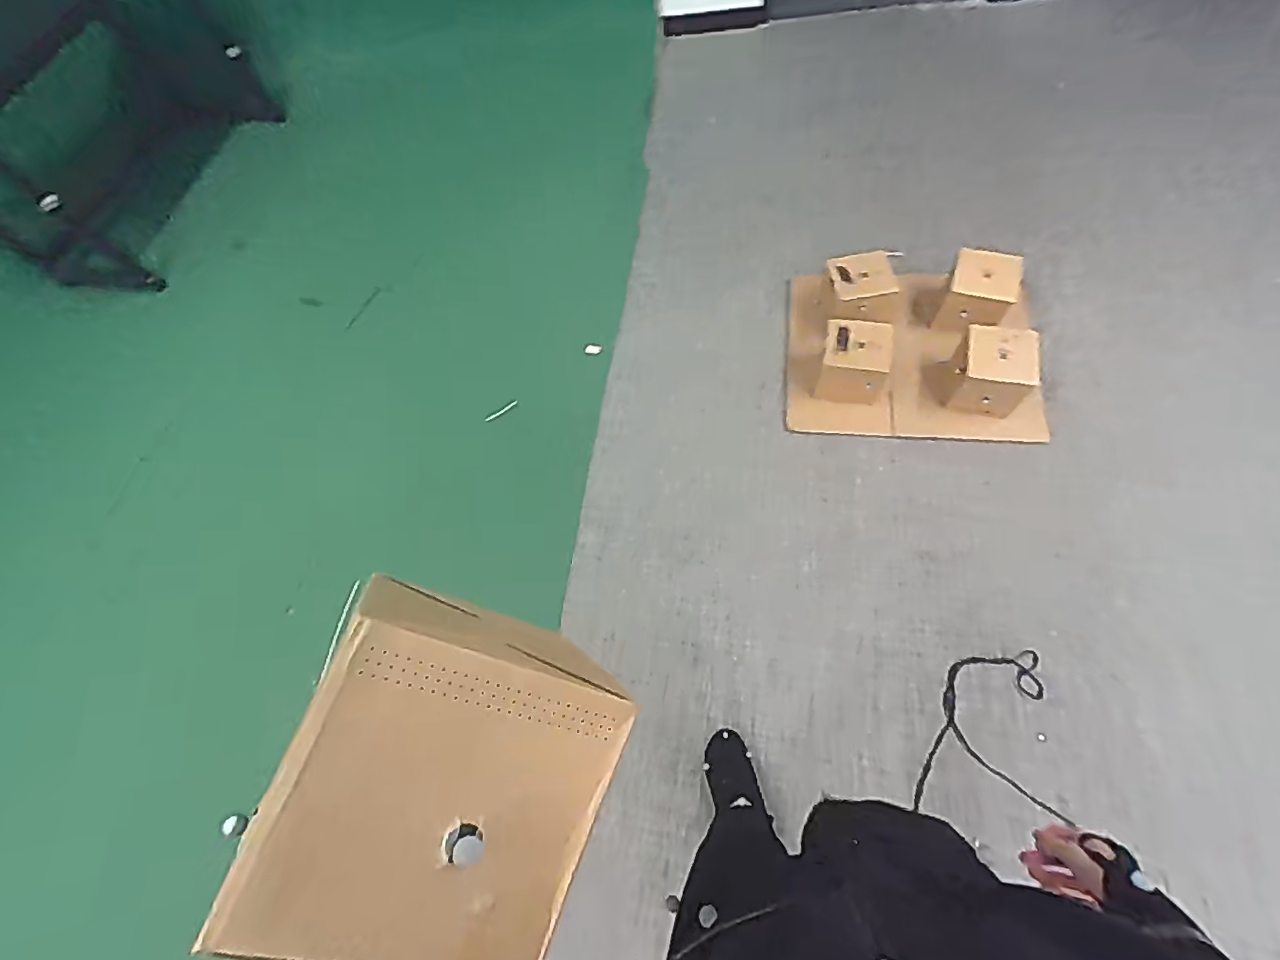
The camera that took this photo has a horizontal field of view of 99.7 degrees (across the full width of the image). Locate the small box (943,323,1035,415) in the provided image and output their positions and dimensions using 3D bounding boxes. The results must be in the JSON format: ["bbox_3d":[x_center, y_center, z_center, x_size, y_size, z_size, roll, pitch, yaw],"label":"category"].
[{"bbox_3d":[0.950,-0.299,1.483,0.168,0.176,0.179,11,67,13],"label":"small box"}]

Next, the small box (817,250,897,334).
[{"bbox_3d":[0.654,-0.570,1.659,0.179,0.176,0.168,-9,64,3],"label":"small box"}]

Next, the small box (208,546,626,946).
[{"bbox_3d":[-0.133,0.161,0.371,0.179,0.168,0.176,27,80,-20],"label":"small box"}]

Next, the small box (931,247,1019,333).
[{"bbox_3d":[0.982,-0.549,1.597,0.168,0.176,0.179,17,68,16],"label":"small box"}]
